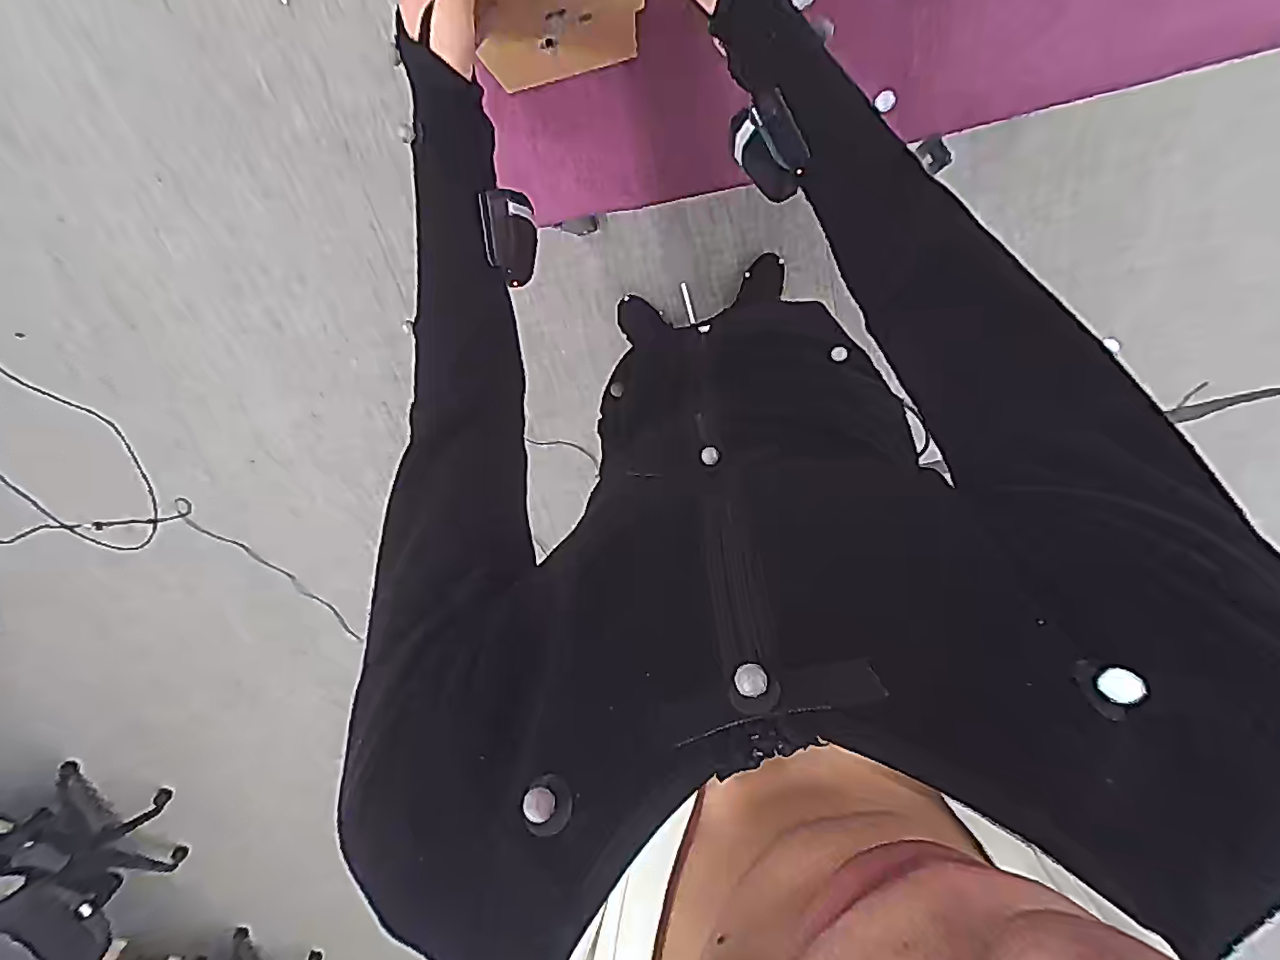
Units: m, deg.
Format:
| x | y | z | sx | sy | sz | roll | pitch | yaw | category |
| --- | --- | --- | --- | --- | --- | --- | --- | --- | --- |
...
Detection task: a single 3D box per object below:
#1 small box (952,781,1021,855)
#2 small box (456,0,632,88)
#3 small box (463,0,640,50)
| x | y | z | sx | sy | sz | roll | pitch | yaw | category |
| --- | --- | --- | --- | --- | --- | --- | --- | --- | --- |
| 1.382 | 1.350 | 2.164 | 0.168 | 0.176 | 0.179 | -20 | 111 | 8 | small box |
| -0.109 | -0.565 | 0.594 | 0.179 | 0.176 | 0.168 | -12 | 112 | 4 | small box |
| -0.094 | -0.501 | 0.442 | 0.168 | 0.176 | 0.179 | -12 | 113 | 5 | small box |
